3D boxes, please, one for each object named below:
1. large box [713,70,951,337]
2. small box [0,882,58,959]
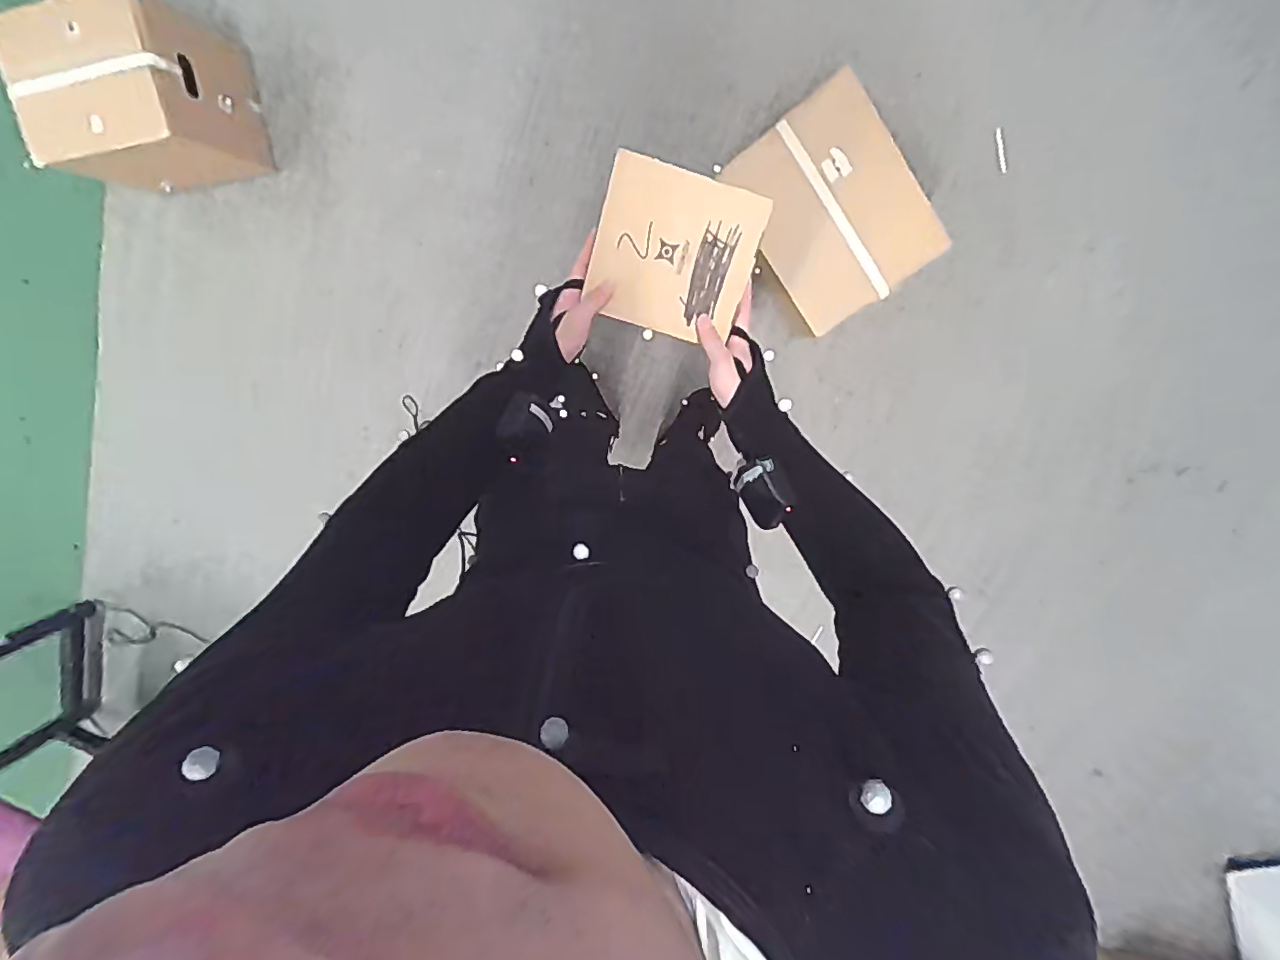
[{"bbox_3d":[0.410,-0.582,1.232,0.320,0.320,0.408,-34,98,15],"label":"large box"},{"bbox_3d":[-1.654,1.174,1.373,0.179,0.176,0.168,24,109,1],"label":"small box"}]
